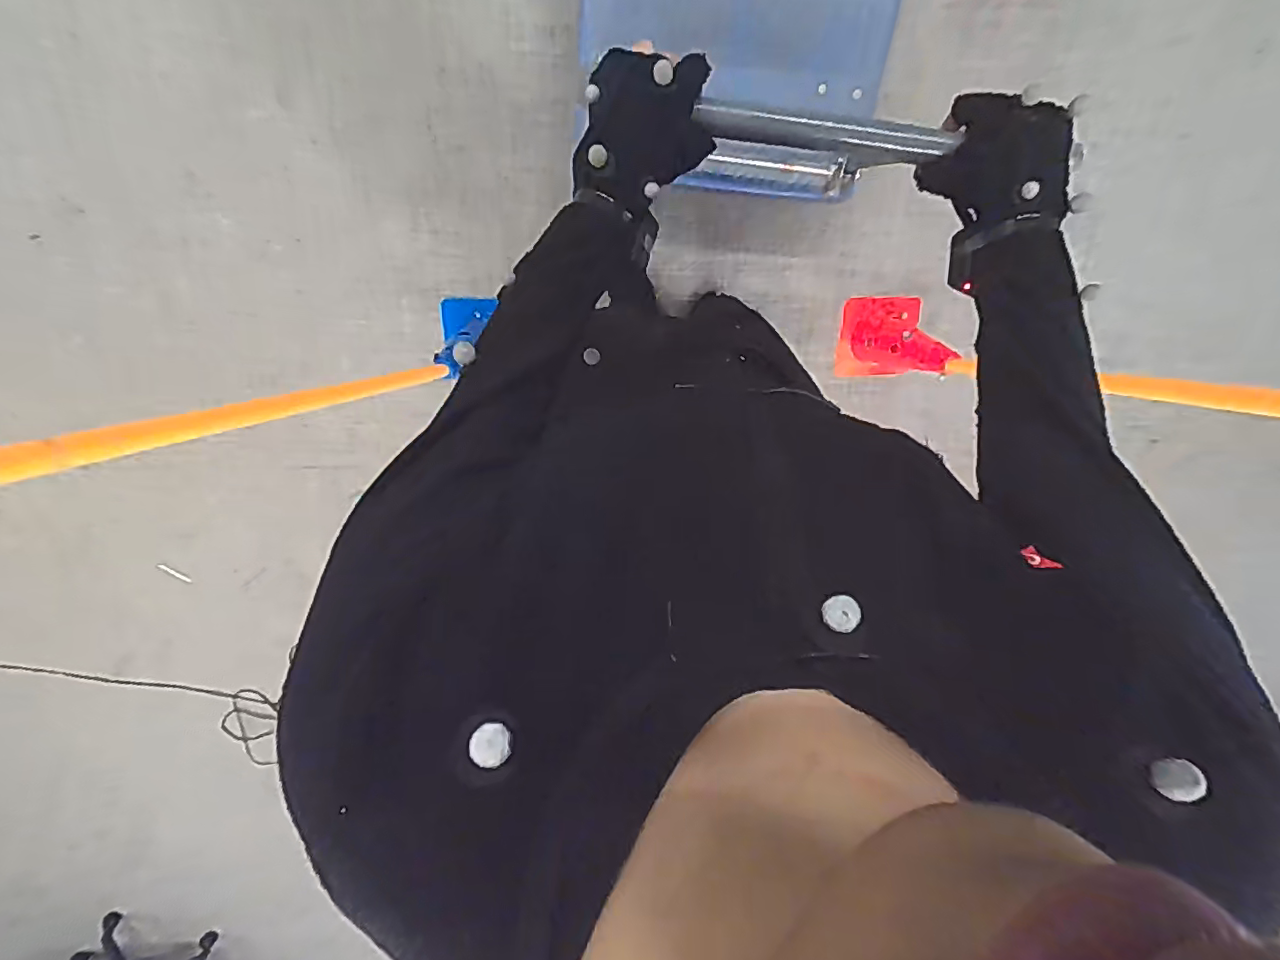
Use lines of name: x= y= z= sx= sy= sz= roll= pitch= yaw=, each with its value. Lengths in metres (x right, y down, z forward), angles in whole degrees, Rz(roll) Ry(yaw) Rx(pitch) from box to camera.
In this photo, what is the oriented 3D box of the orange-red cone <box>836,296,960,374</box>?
orange-red cone: x=0.621 y=-0.309 z=1.249 sx=0.199 sy=0.360 sz=0.198 roll=1 pitch=113 yaw=-1
